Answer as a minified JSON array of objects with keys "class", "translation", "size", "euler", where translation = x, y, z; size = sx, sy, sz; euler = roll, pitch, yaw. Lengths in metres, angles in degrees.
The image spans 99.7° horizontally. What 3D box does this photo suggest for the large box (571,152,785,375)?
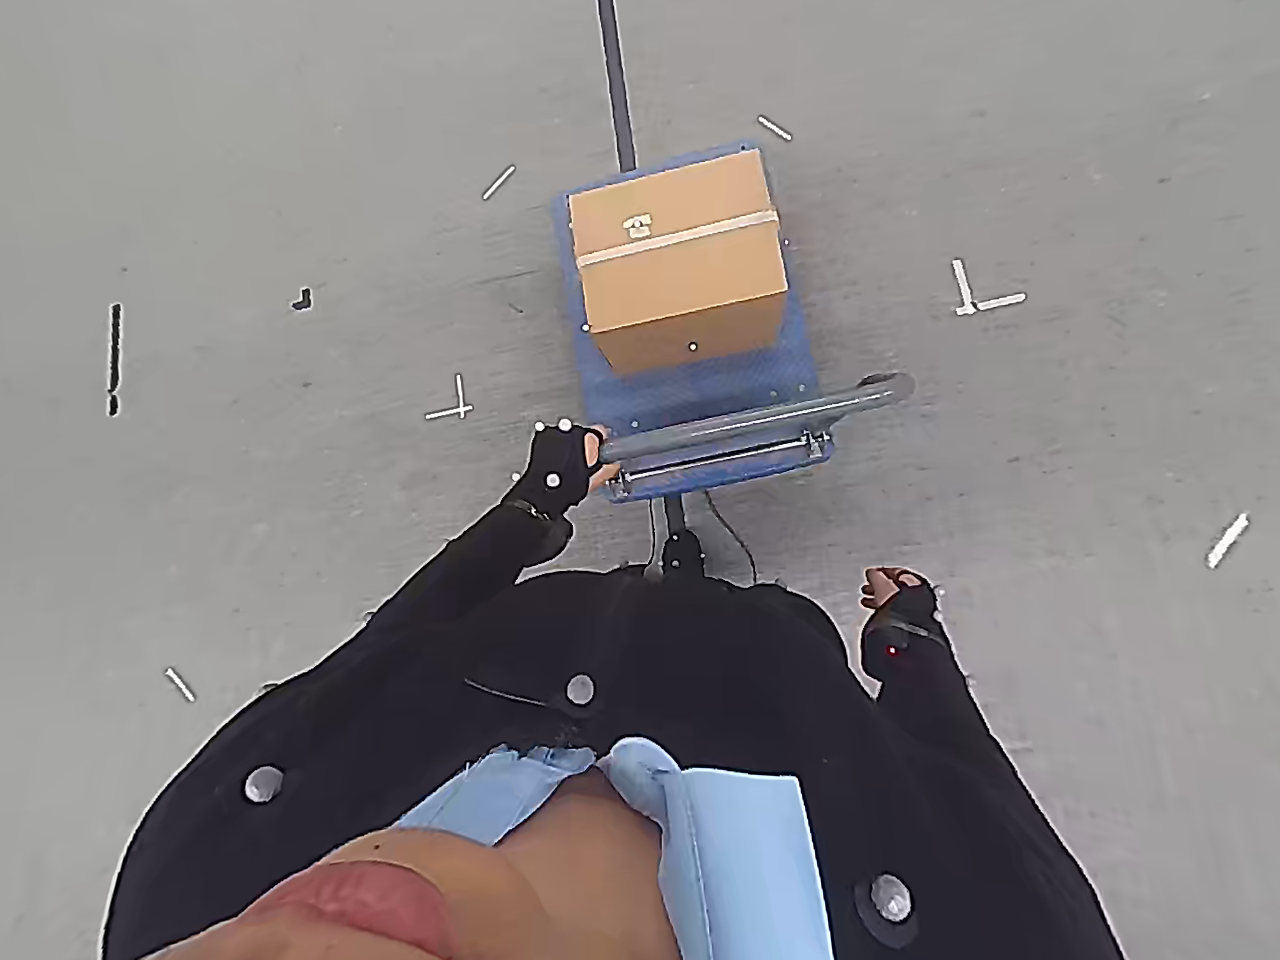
[{"class":"large box","translation":[0.095,-0.470,1.254],"size":[0.408,0.320,0.320],"euler":[-10,81,9]}]
